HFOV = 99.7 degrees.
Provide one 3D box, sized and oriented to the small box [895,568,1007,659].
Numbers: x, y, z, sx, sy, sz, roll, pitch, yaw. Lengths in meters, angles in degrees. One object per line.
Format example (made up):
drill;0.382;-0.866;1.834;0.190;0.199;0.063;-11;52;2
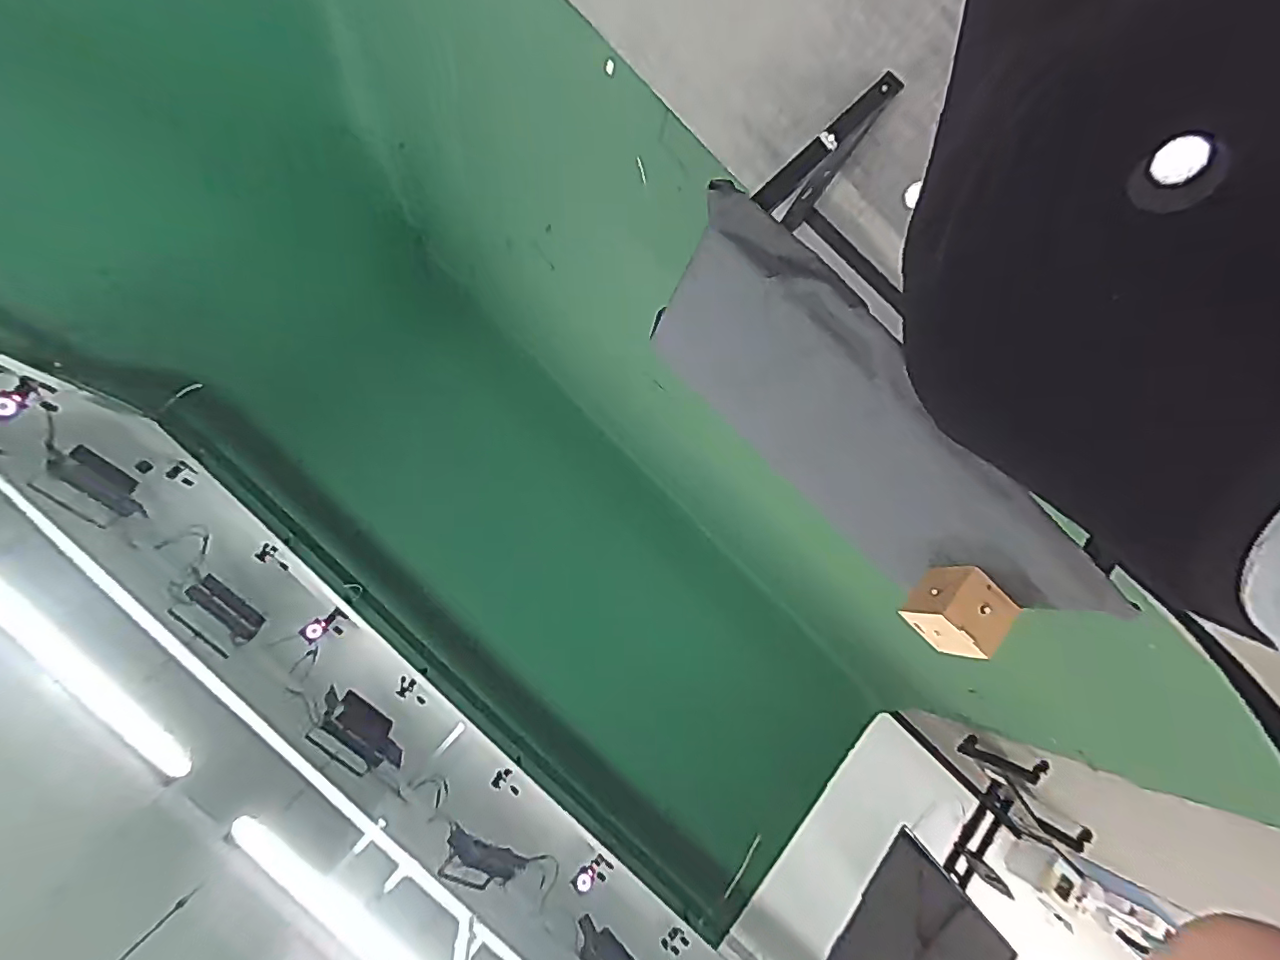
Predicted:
small box;0.834;0.351;1.443;0.168;0.176;0.179;46;163;0
